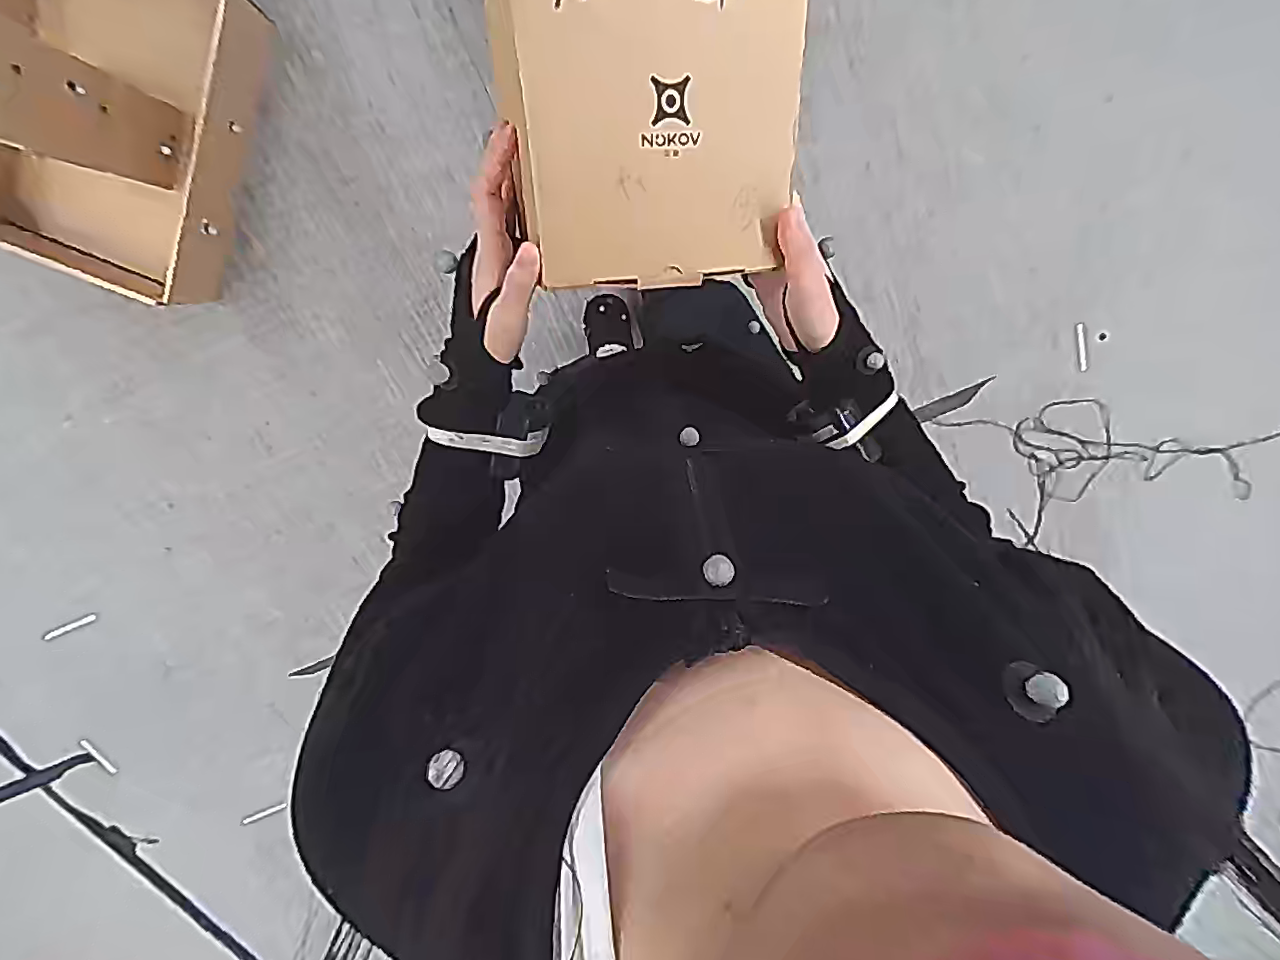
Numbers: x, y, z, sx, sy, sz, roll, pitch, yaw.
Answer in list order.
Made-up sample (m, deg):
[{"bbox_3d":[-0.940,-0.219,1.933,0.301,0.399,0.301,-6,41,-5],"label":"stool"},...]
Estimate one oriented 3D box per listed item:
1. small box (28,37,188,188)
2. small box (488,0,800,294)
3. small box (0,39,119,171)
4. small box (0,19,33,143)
[{"bbox_3d":[-1.037,-0.693,1.045,0.179,0.176,0.168,21,105,-14],"label":"small box"},{"bbox_3d":[-0.009,-0.243,0.381,0.168,0.176,0.179,-11,120,-12],"label":"small box"},{"bbox_3d":[-1.023,-0.638,0.893,0.179,0.176,0.168,17,104,-11],"label":"small box"},{"bbox_3d":[-1.001,-0.590,0.736,0.179,0.176,0.168,16,104,-12],"label":"small box"}]
